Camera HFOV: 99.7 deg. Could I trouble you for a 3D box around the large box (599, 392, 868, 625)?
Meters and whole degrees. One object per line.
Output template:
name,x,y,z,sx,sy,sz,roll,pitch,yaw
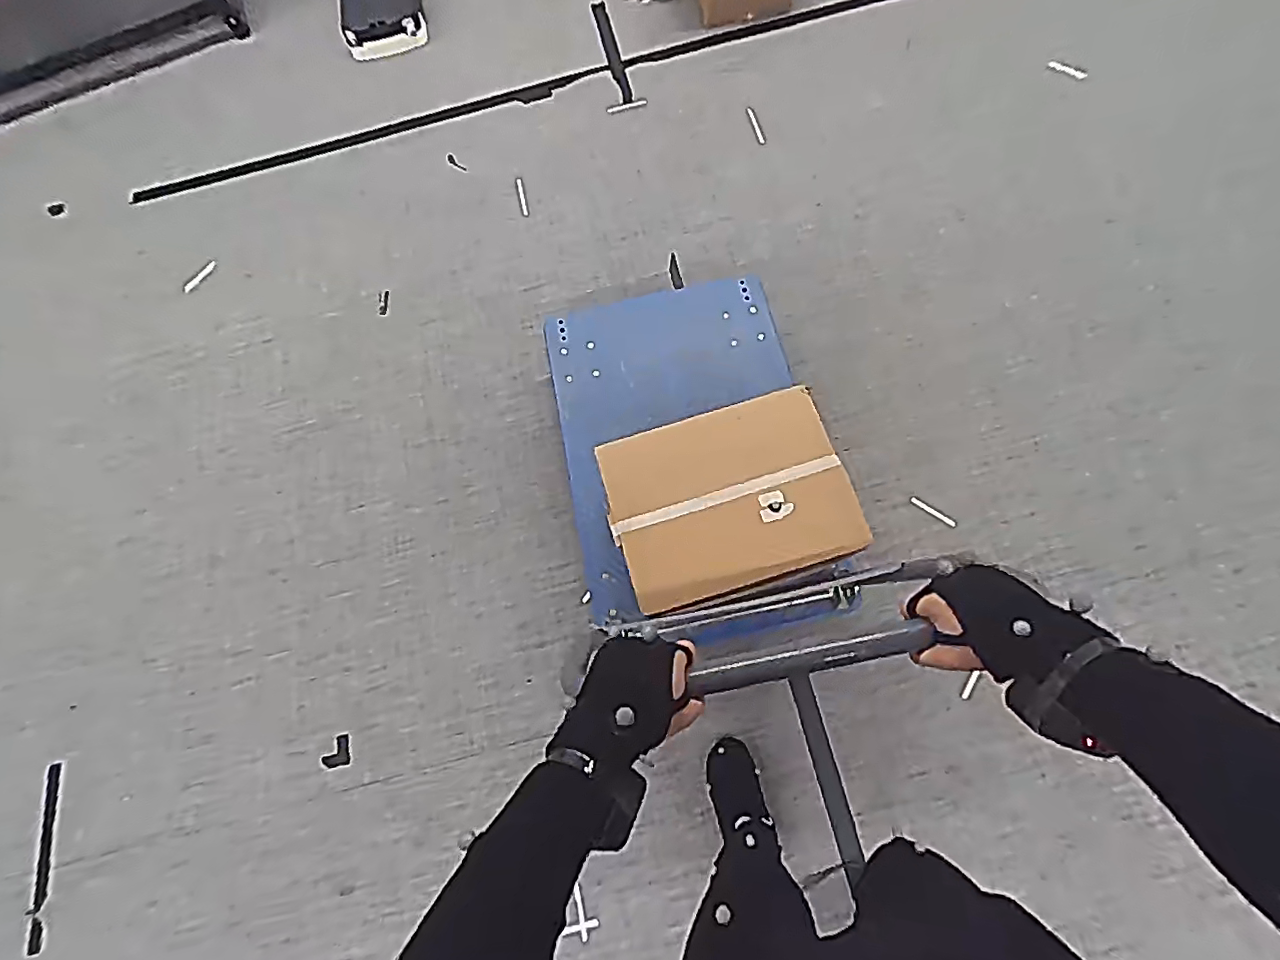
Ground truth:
large box,0.164,0.078,1.092,0.408,0.320,0.320,-17,74,-2
